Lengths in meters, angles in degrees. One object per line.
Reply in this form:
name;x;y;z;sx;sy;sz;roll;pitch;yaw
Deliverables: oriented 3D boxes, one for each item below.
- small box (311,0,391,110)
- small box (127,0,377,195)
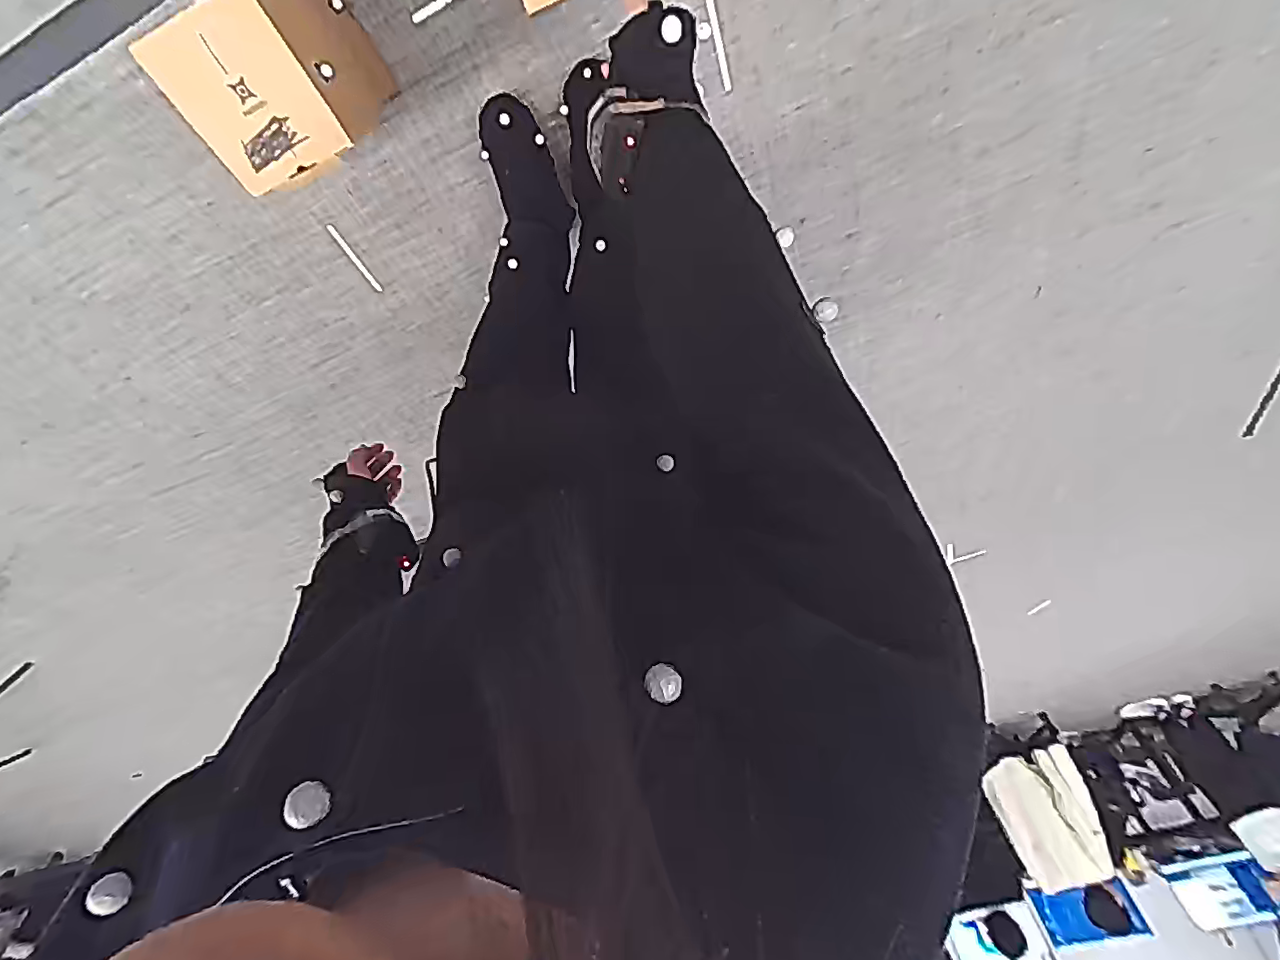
small box;-0.505;-0.630;0.819;0.179;0.176;0.168;-21;134;13
small box;-0.479;-0.515;0.705;0.168;0.176;0.179;-20;134;10
